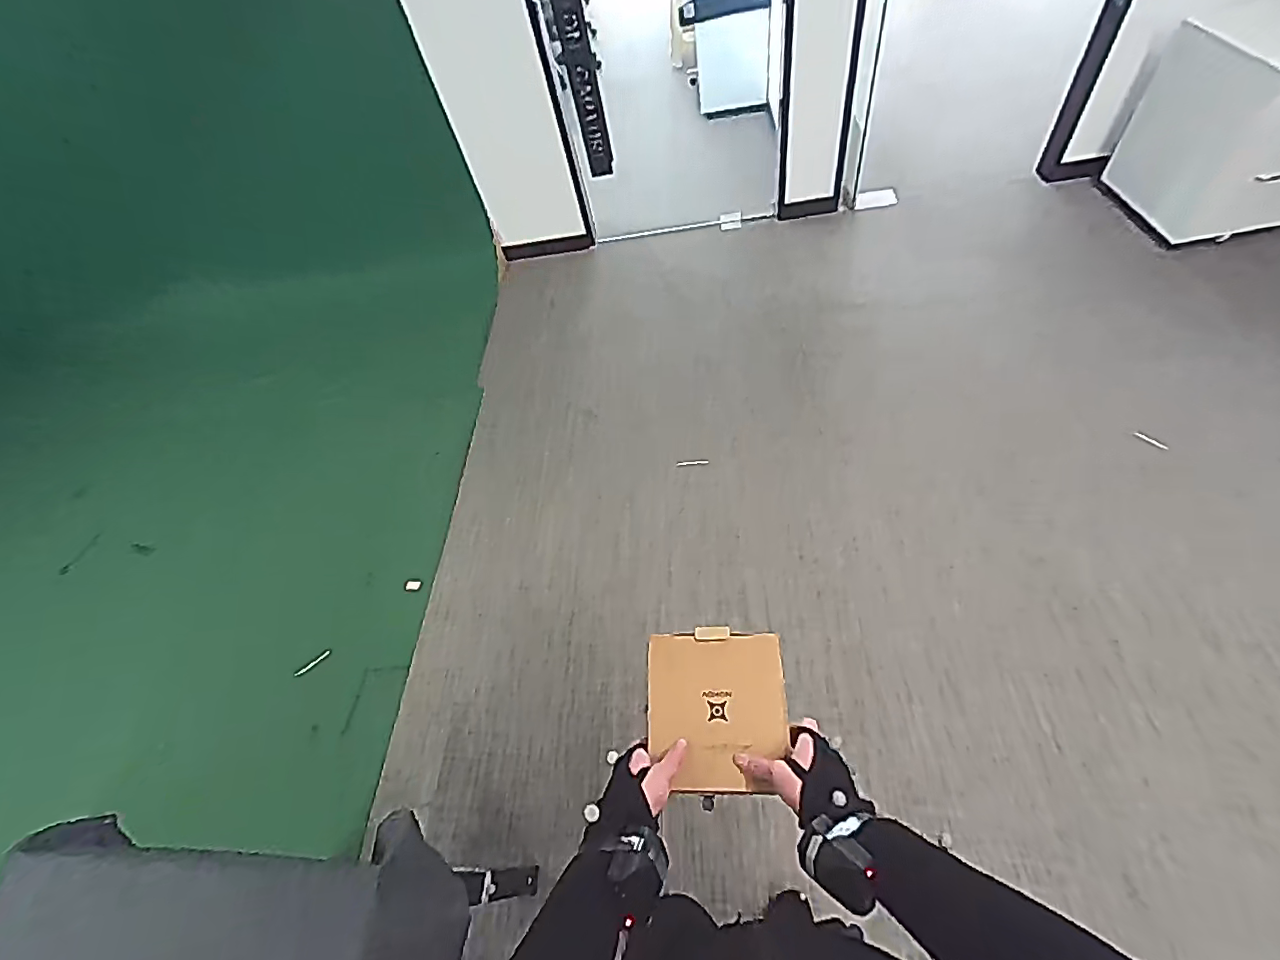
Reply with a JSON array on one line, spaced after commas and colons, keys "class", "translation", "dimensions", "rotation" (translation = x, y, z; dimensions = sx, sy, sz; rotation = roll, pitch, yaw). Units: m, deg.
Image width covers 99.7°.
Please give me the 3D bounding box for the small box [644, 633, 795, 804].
[{"class": "small box", "translation": [0.097, 0.308, 0.692], "dimensions": [0.168, 0.176, 0.179], "rotation": [0, 59, 7]}]
